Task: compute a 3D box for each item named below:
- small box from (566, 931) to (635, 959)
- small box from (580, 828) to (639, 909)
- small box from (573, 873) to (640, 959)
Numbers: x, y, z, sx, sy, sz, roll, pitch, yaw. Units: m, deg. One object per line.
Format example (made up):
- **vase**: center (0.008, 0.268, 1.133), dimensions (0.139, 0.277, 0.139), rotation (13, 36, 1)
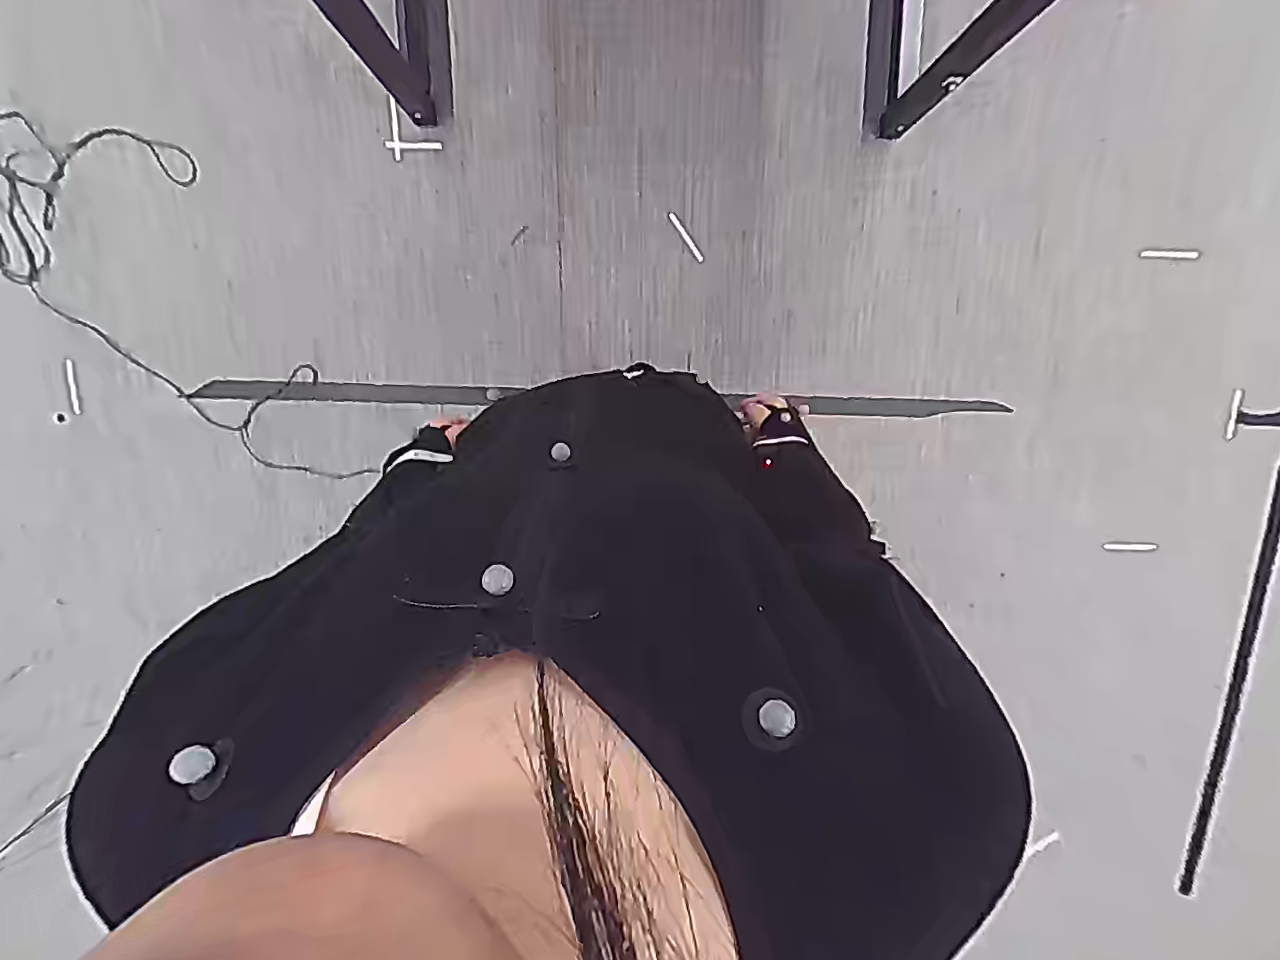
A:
- **small box**: center (-0.093, 1.252, 1.313), dimensions (0.168, 0.176, 0.179), rotation (-5, 100, 0)
- **small box**: center (-0.092, 1.186, 1.635), dimensions (0.168, 0.176, 0.179), rotation (-3, 101, -1)
- **small box**: center (-0.087, 1.221, 1.475), dimensions (0.168, 0.176, 0.179), rotation (-5, 102, -1)
